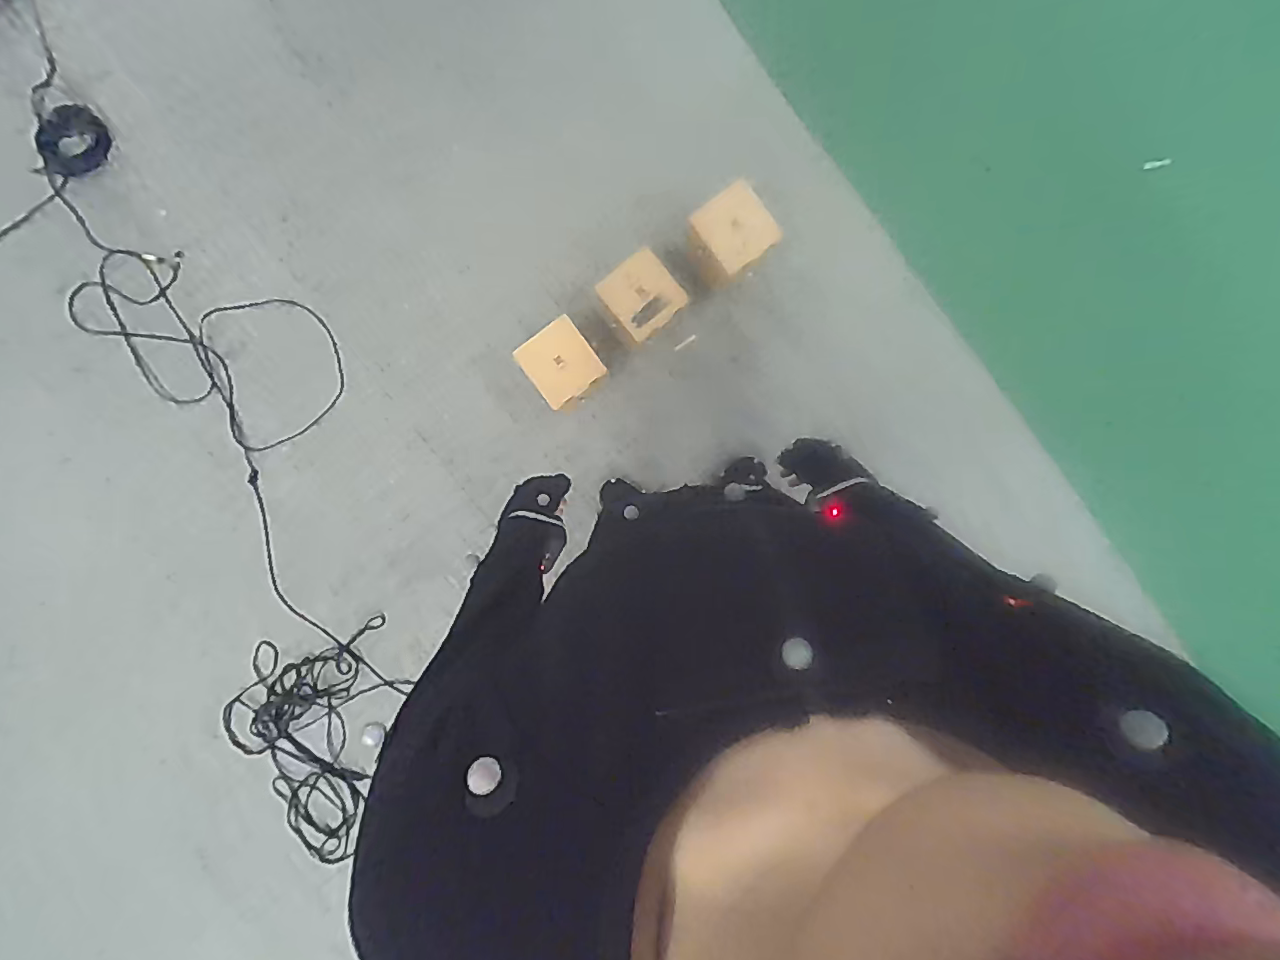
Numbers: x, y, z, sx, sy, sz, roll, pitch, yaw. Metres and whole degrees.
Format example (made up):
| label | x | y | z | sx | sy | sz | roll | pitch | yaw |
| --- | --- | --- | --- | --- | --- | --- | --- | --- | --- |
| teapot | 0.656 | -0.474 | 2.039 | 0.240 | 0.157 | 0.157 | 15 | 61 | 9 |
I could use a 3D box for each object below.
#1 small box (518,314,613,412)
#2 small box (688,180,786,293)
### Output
| label | x | y | z | sx | sy | sz | roll | pitch | yaw |
| --- | --- | --- | --- | --- | --- | --- | --- | --- | --- |
| small box | -0.186 | -0.292 | 1.396 | 0.168 | 0.176 | 0.179 | -36 | 93 | 2 |
| small box | 0.237 | -0.612 | 1.384 | 0.168 | 0.176 | 0.179 | -37 | 93 | 2 |
